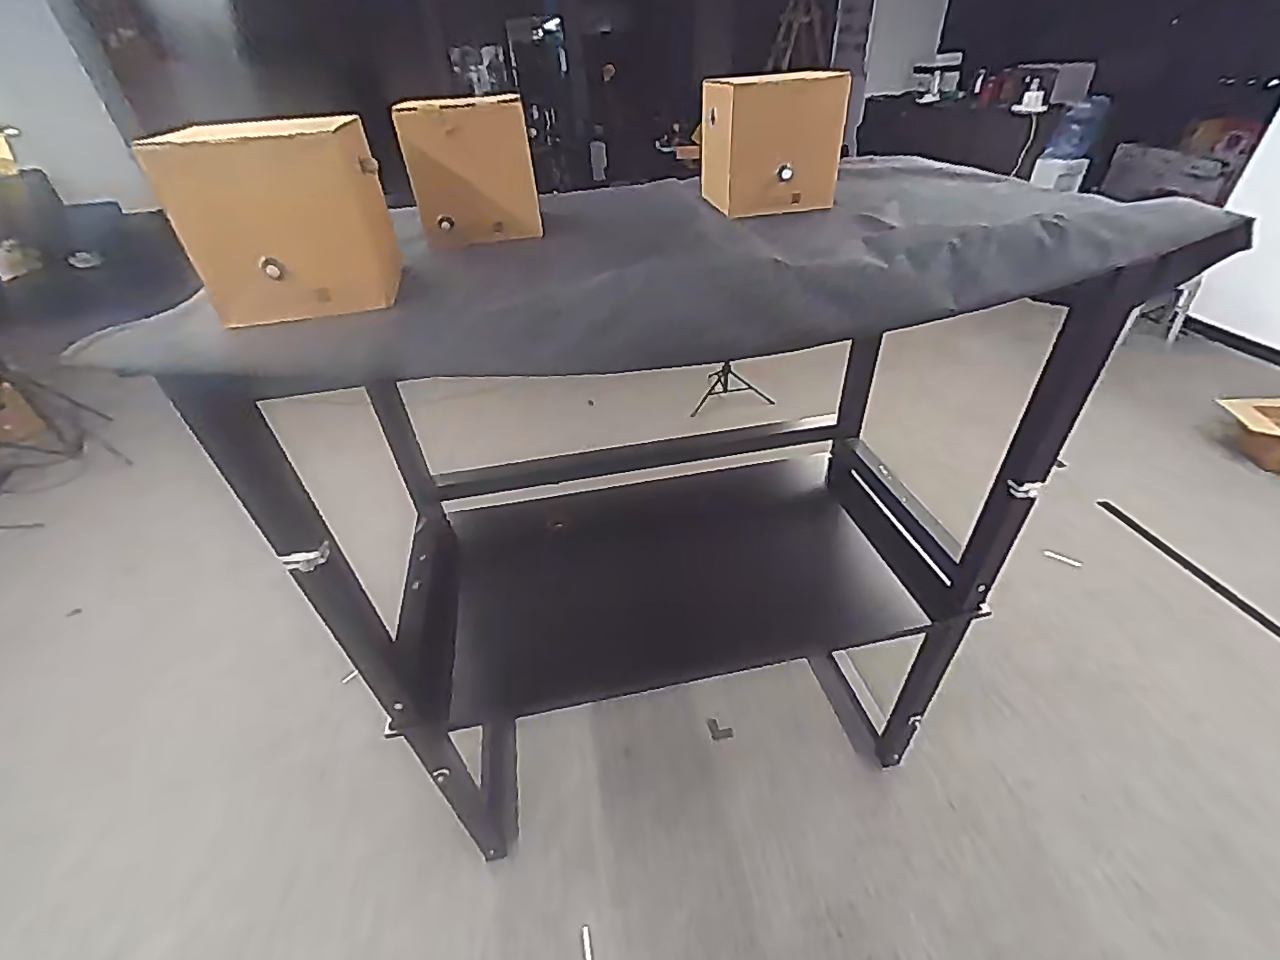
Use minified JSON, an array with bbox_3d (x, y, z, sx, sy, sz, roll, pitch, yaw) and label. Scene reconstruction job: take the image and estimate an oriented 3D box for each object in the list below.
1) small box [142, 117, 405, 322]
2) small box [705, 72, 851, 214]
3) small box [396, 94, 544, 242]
[{"bbox_3d":[-0.370,-0.288,0.593,0.168,0.176,0.179,-11,39,-10],"label":"small box"},{"bbox_3d":[0.199,-0.522,0.840,0.168,0.176,0.179,-8,38,-4],"label":"small box"},{"bbox_3d":[-0.239,-0.461,0.803,0.168,0.176,0.179,-9,38,-7],"label":"small box"}]
